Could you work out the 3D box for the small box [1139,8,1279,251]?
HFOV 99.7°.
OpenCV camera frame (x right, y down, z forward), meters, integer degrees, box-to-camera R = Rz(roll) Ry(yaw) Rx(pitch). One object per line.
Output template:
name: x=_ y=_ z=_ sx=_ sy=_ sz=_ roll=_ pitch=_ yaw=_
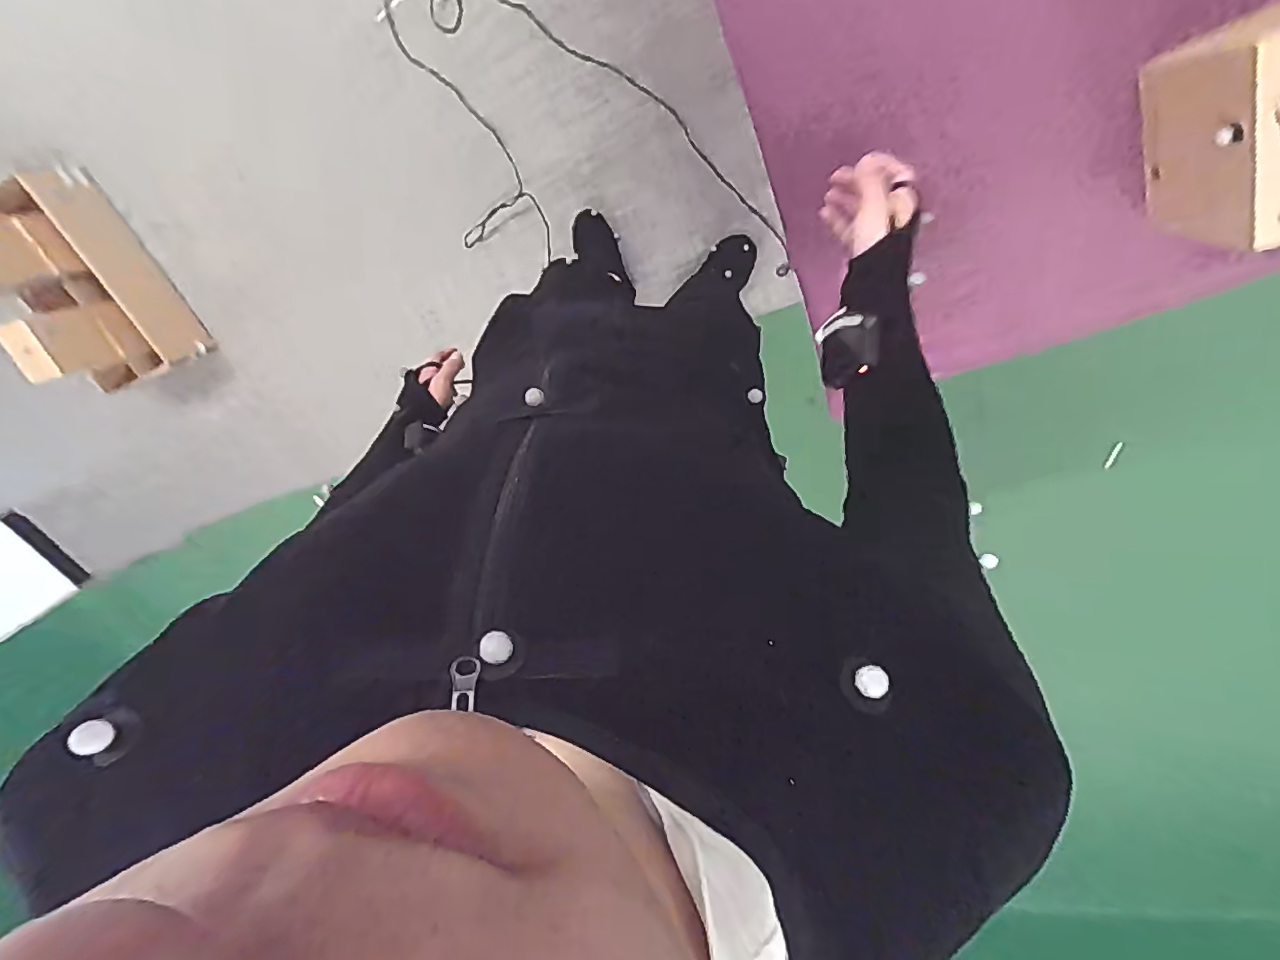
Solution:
small box: x=0.596 y=-0.329 z=0.477 sx=0.179 sy=0.176 sz=0.168 roll=-17 pitch=115 yaw=23
